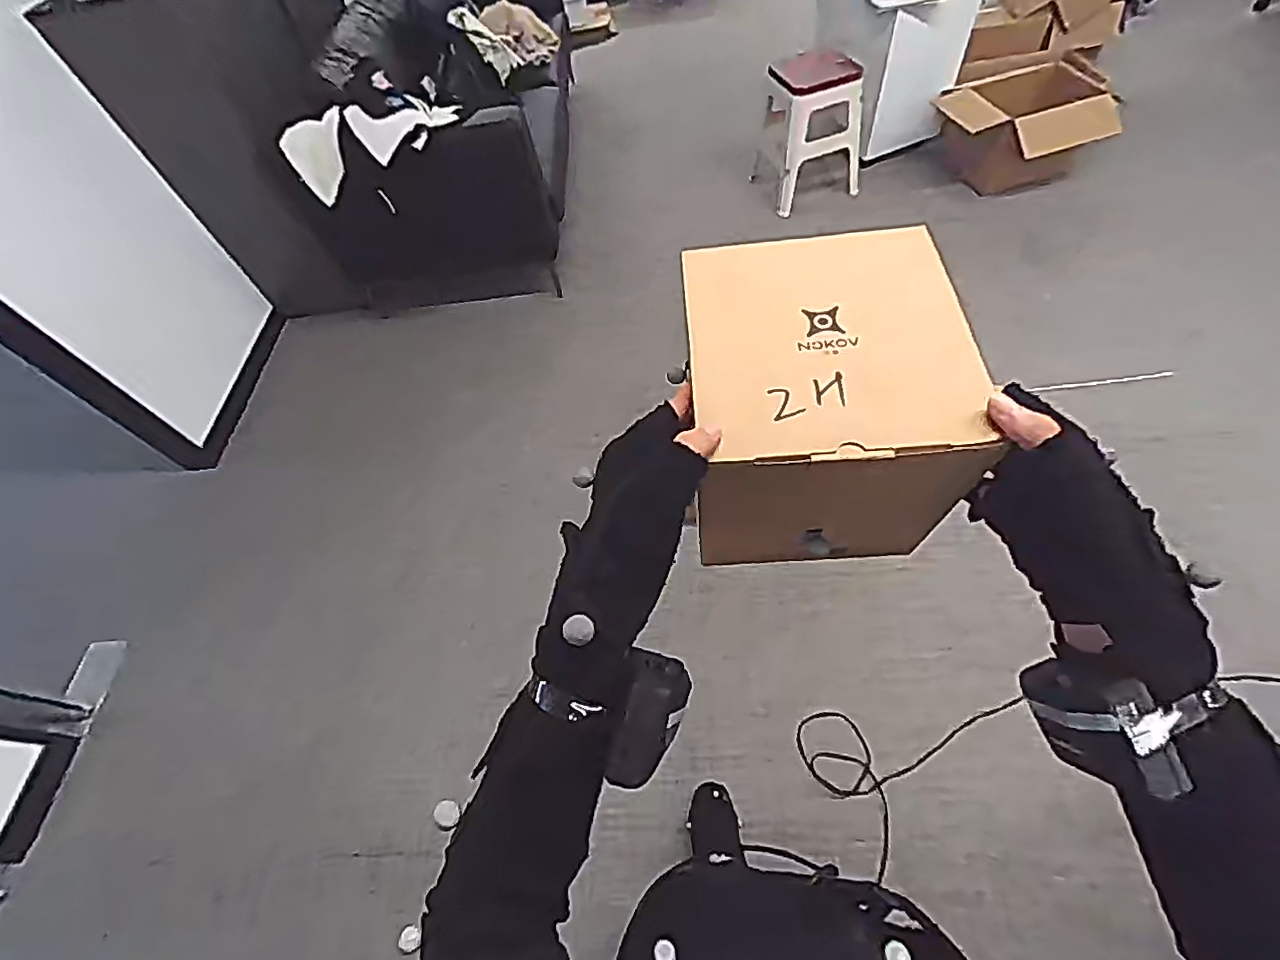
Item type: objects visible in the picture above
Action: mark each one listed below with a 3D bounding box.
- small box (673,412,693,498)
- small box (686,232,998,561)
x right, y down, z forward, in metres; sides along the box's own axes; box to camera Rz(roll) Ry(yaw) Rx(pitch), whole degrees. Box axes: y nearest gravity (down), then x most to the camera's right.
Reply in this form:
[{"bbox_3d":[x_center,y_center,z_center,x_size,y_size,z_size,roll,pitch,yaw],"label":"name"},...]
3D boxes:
[{"bbox_3d":[0.178,-0.072,1.480,0.168,0.176,0.179,-5,55,6],"label":"small box"},{"bbox_3d":[0.120,-0.052,0.407,0.168,0.176,0.179,-4,61,6],"label":"small box"}]
